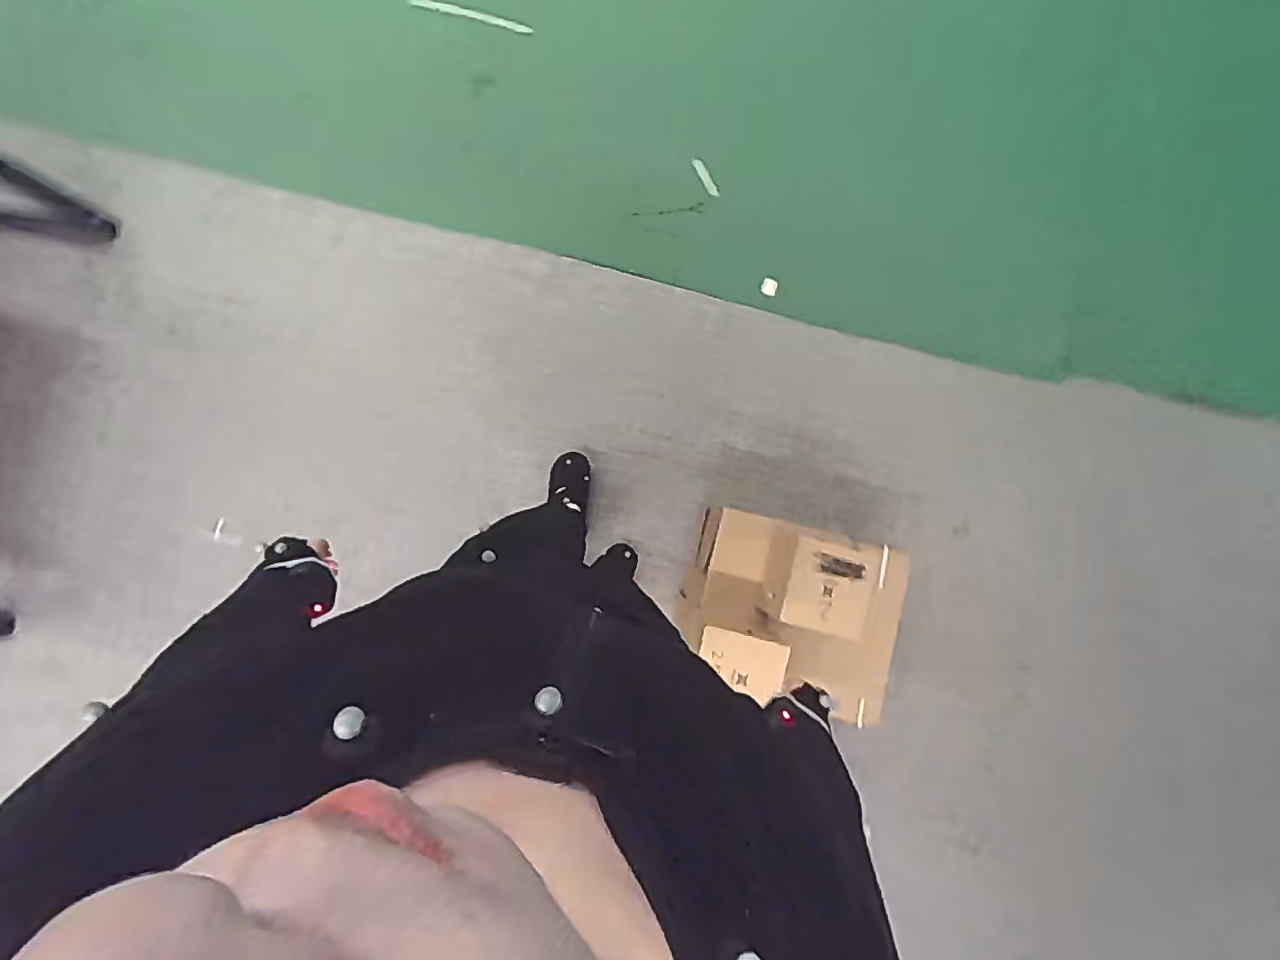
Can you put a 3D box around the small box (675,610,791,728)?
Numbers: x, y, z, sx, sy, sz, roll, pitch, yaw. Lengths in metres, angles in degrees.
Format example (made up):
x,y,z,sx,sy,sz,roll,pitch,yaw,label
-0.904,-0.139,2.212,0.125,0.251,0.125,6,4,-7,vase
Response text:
x,y,z,sx,sy,sz,roll,pitch,yaw,label
0.183,0.380,1.117,0.179,0.176,0.168,16,86,-2,small box
